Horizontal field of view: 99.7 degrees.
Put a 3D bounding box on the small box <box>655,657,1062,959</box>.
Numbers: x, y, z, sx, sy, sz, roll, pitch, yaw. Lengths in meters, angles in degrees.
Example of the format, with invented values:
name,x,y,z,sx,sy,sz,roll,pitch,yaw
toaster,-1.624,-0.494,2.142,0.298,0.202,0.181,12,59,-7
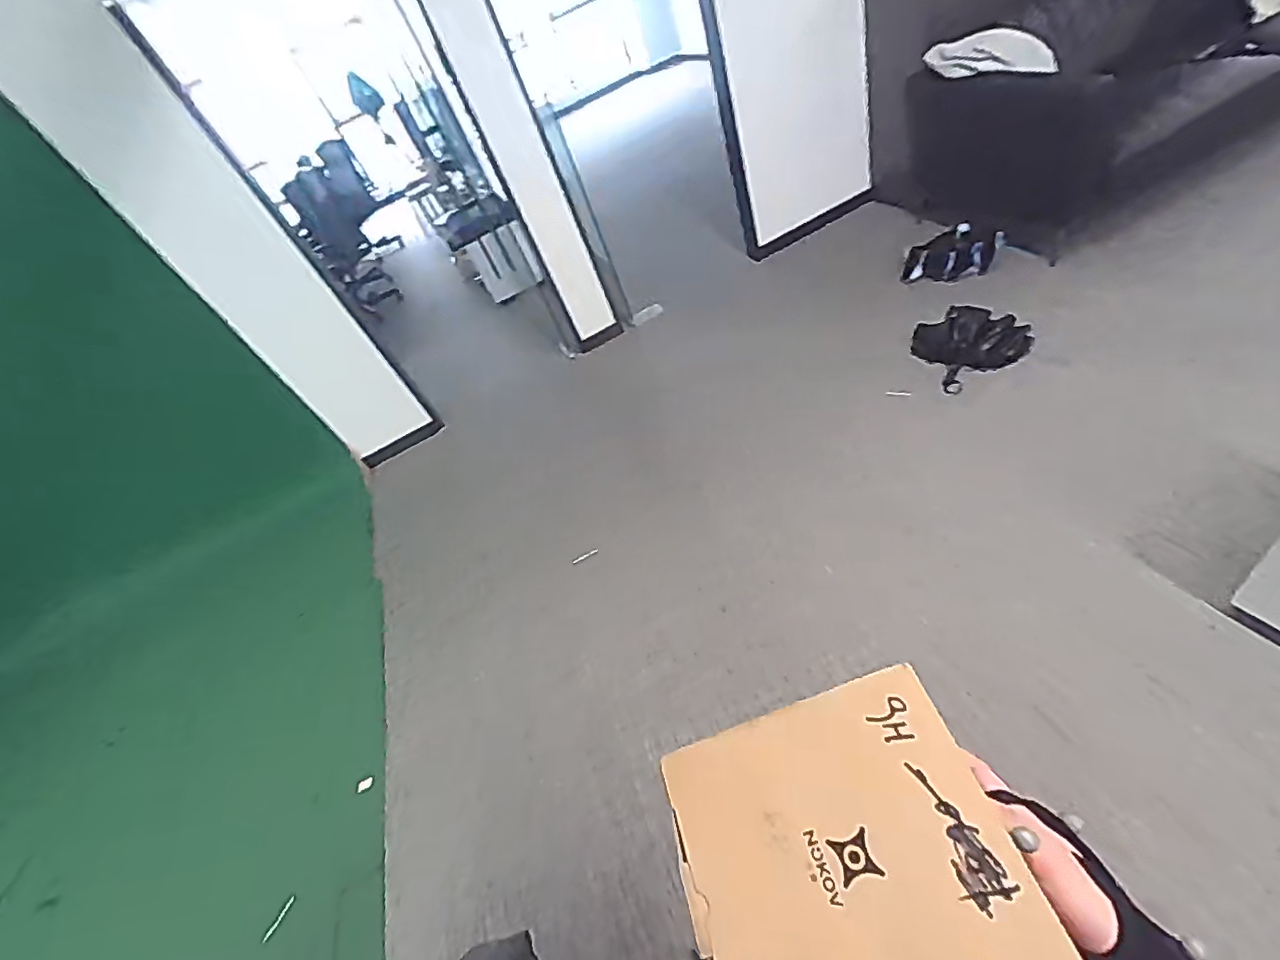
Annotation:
name,x,y,z,sx,sy,sz,roll,pitch,yaw
small box,0.135,0.247,0.369,0.179,0.176,0.168,-25,53,10
